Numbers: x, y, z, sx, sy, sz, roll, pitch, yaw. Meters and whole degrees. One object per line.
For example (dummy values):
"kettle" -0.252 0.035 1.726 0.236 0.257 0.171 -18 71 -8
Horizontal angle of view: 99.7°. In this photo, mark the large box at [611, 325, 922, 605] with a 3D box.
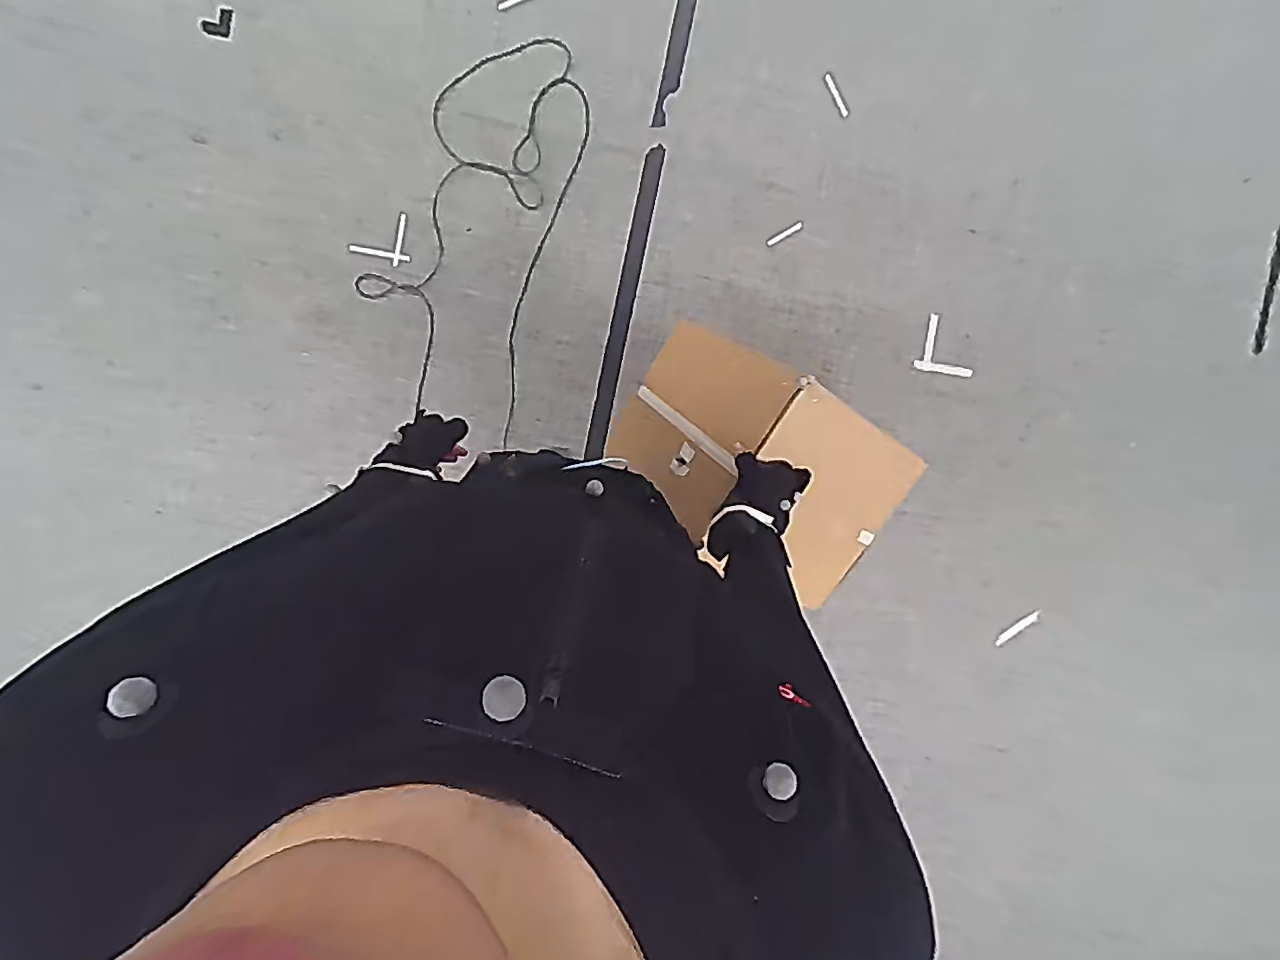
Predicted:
"large box" 0.202 -0.041 0.998 0.320 0.408 0.320 24 106 -31
